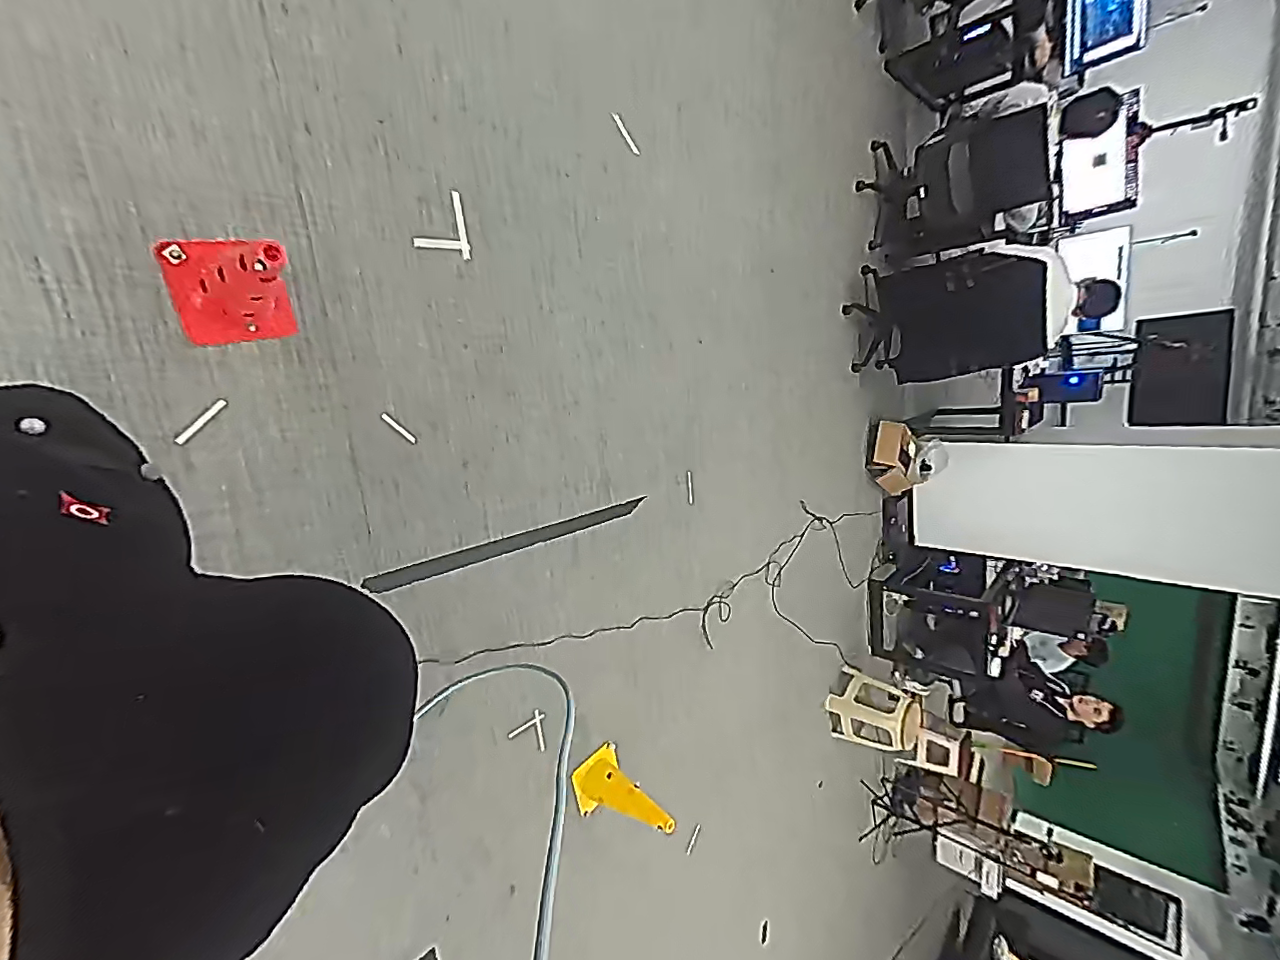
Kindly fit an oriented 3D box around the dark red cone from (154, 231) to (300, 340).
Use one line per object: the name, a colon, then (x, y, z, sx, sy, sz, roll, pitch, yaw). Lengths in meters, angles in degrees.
dark red cone: (-0.699, -0.377, 0.970, 0.202, 0.394, 0.201, -26, 113, -42)
